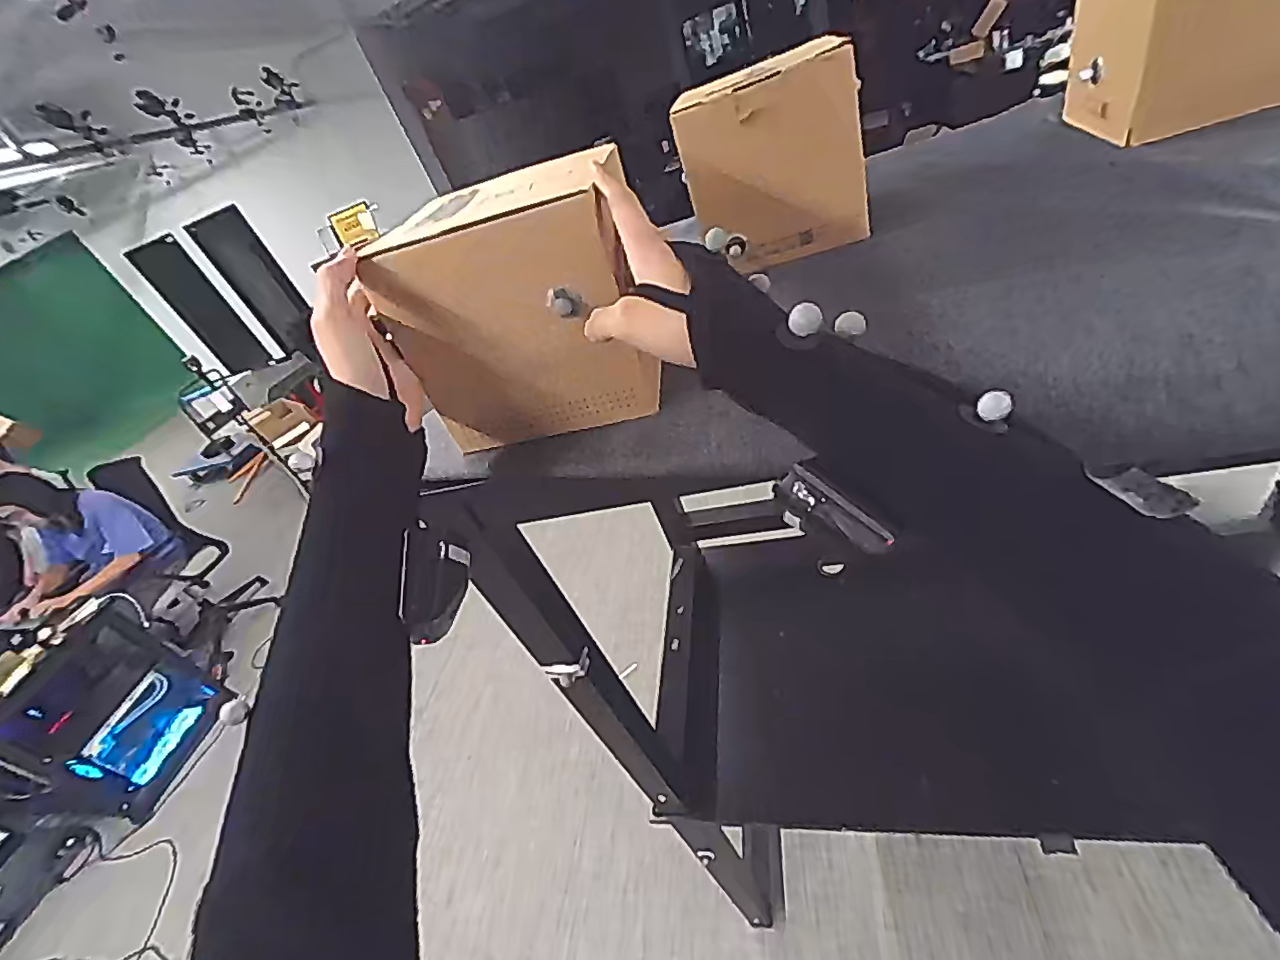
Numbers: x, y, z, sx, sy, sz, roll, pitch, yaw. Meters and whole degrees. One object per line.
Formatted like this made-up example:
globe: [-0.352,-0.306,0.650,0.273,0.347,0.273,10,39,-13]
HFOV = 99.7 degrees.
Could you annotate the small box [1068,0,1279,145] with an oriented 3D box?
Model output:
small box: [0.521,-0.433,0.481,0.179,0.176,0.168,-9,38,22]

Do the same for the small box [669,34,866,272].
small box: [0.141,-0.347,0.590,0.168,0.176,0.179,-10,37,19]
